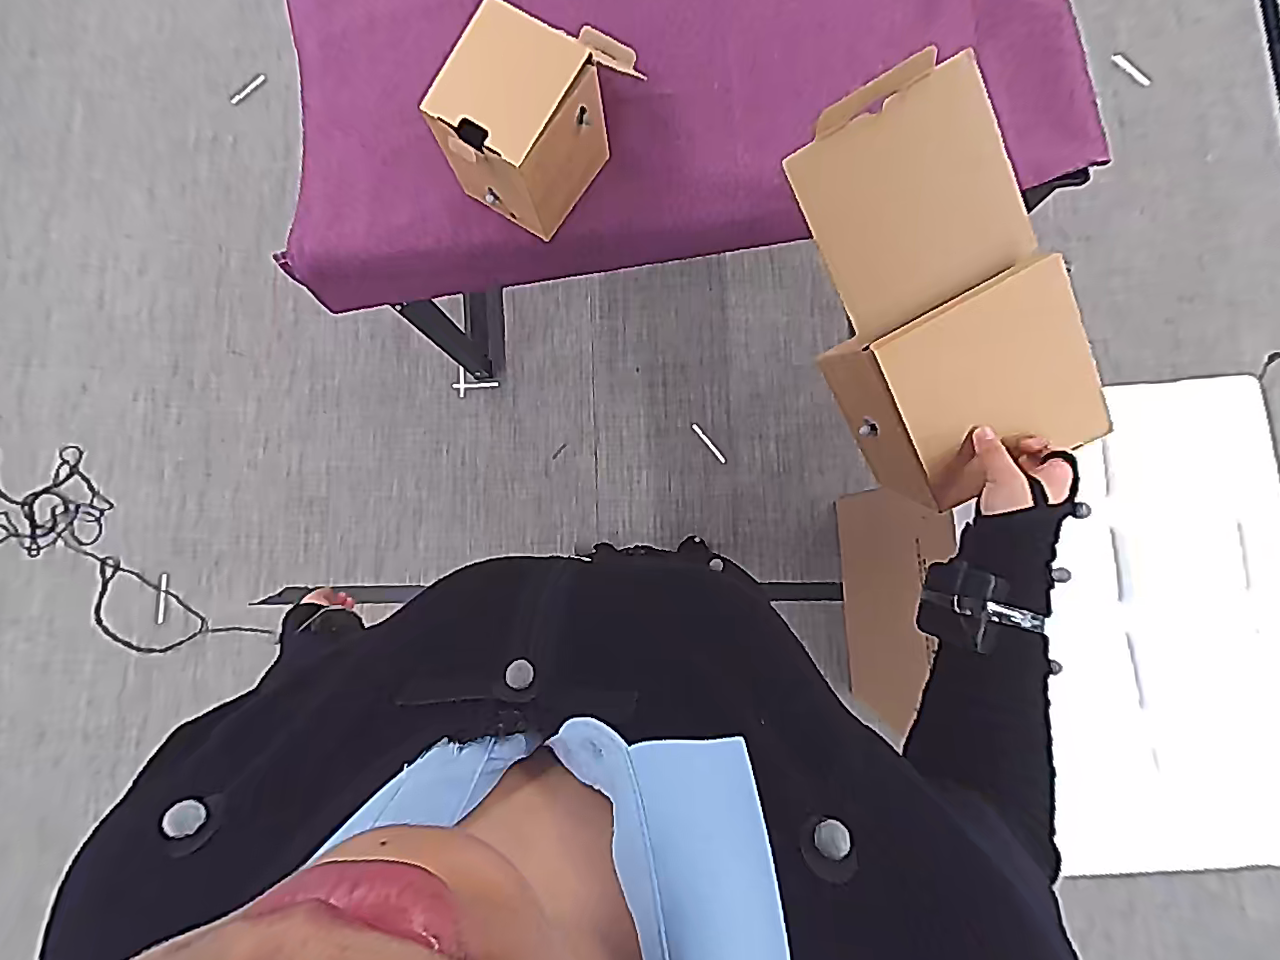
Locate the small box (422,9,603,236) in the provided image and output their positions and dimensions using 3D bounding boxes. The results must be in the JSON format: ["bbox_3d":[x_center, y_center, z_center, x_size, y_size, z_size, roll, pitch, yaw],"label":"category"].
[{"bbox_3d":[-0.167,-0.498,0.777,0.168,0.176,0.179,34,85,8],"label":"small box"}]
